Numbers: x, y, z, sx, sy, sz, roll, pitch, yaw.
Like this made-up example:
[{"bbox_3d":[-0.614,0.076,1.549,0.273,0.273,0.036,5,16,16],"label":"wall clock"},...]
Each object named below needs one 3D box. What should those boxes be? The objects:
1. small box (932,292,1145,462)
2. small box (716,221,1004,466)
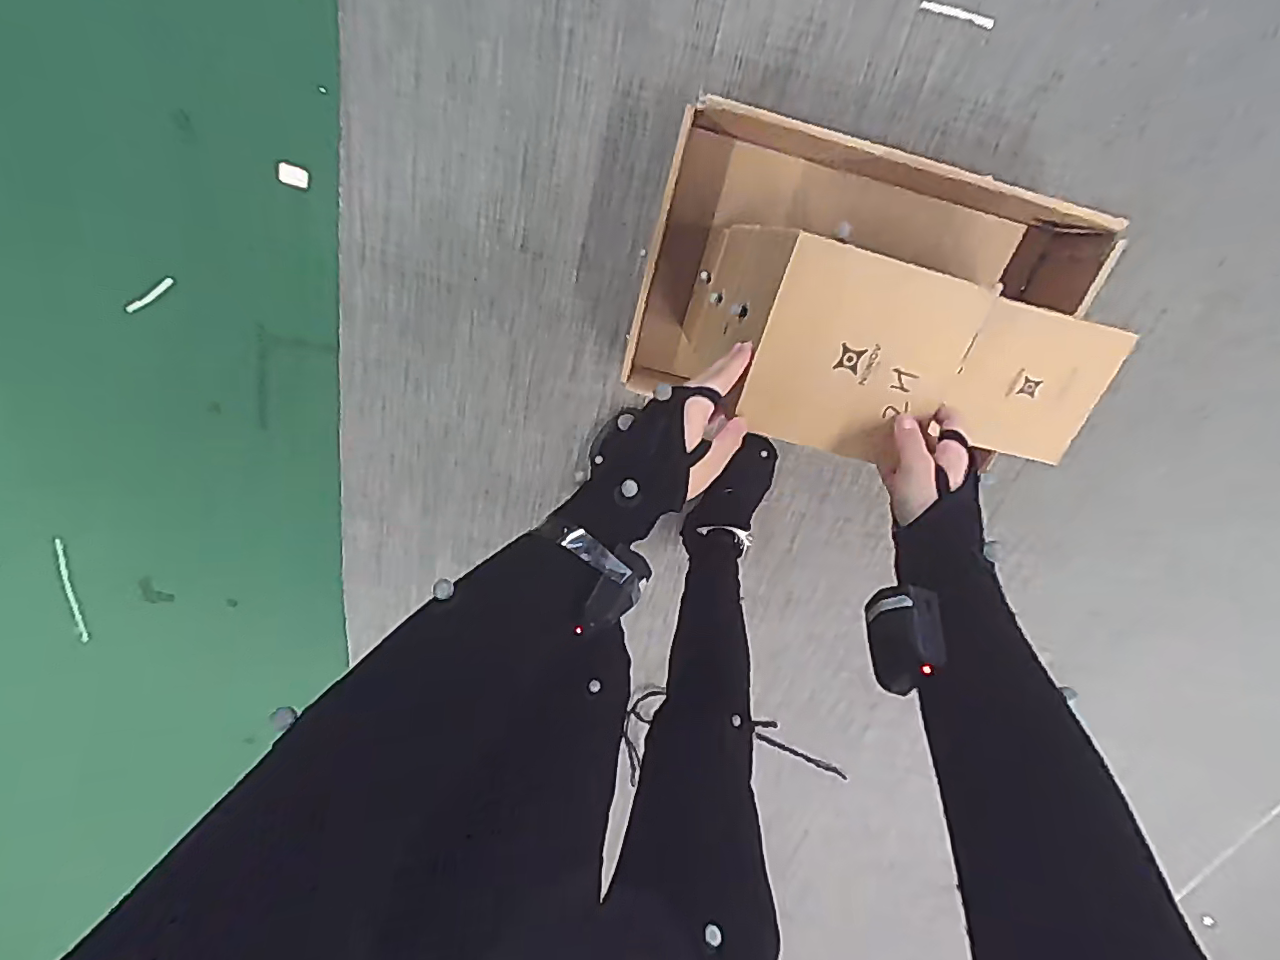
[{"bbox_3d":[0.449,-0.146,0.686,0.179,0.176,0.168,13,117,-3],"label":"small box"},{"bbox_3d":[0.184,-0.137,0.520,0.179,0.176,0.168,13,115,-7],"label":"small box"}]
